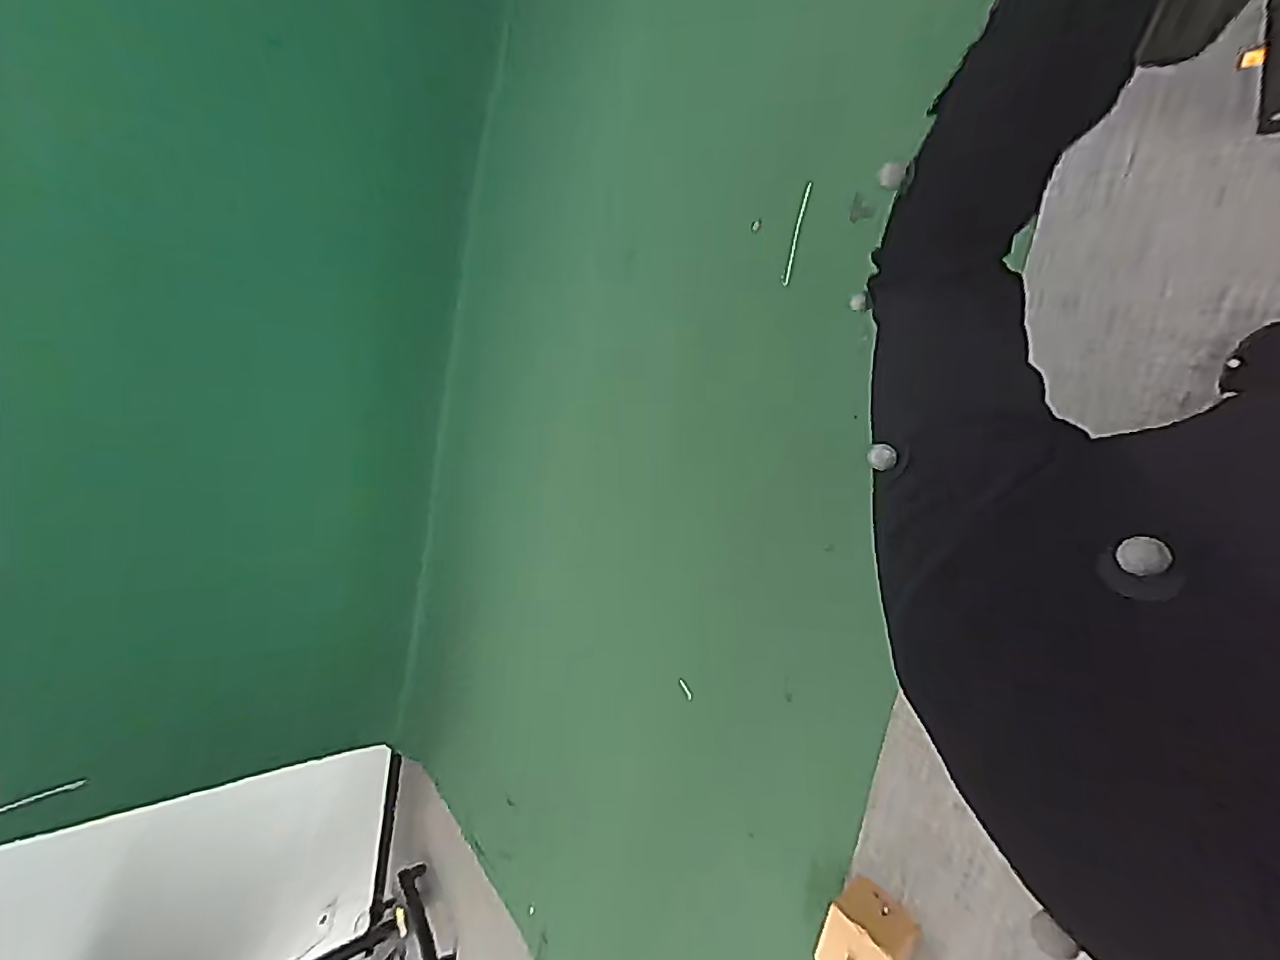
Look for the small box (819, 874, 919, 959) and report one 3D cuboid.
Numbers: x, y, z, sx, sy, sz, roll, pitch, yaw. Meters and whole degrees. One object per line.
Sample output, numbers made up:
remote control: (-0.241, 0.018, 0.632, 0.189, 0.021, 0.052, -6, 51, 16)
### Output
small box: (0.596, 1.186, 1.401, 0.168, 0.176, 0.179, 21, 102, 45)
